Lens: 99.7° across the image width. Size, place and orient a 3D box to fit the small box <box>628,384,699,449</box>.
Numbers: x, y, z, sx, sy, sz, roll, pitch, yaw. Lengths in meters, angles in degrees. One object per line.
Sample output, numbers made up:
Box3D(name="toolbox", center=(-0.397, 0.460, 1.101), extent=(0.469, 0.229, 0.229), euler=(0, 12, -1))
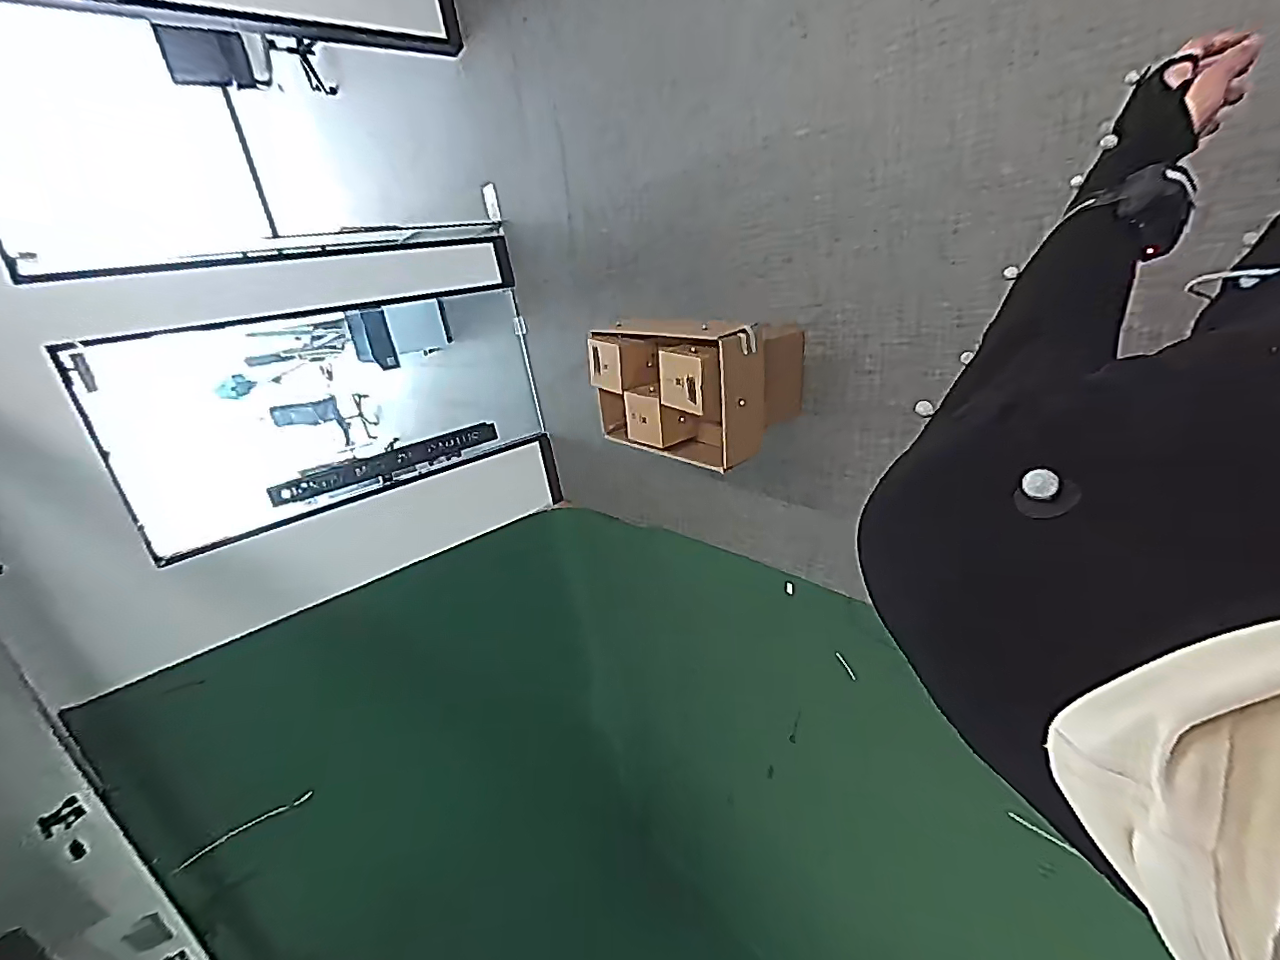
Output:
Box3D(name="small box", center=(0.084, -0.217, 1.795), extent=(0.179, 0.176, 0.168), euler=(21, 124, 46))
